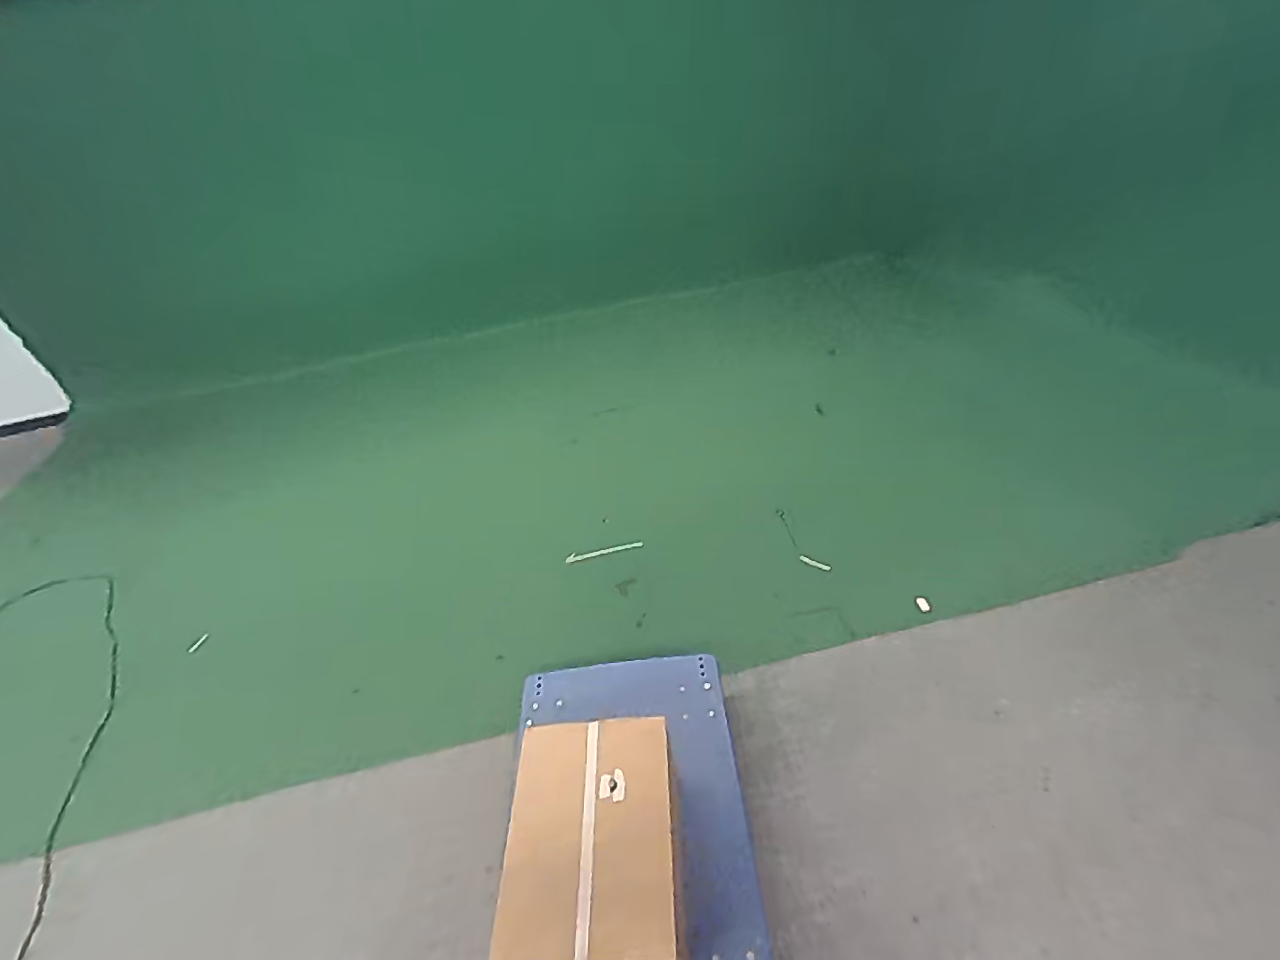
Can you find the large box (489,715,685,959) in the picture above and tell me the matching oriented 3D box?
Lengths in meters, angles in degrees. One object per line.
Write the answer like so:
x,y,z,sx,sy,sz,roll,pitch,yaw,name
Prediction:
-0.085,0.767,1.122,0.320,0.320,0.408,-6,39,4,large box
